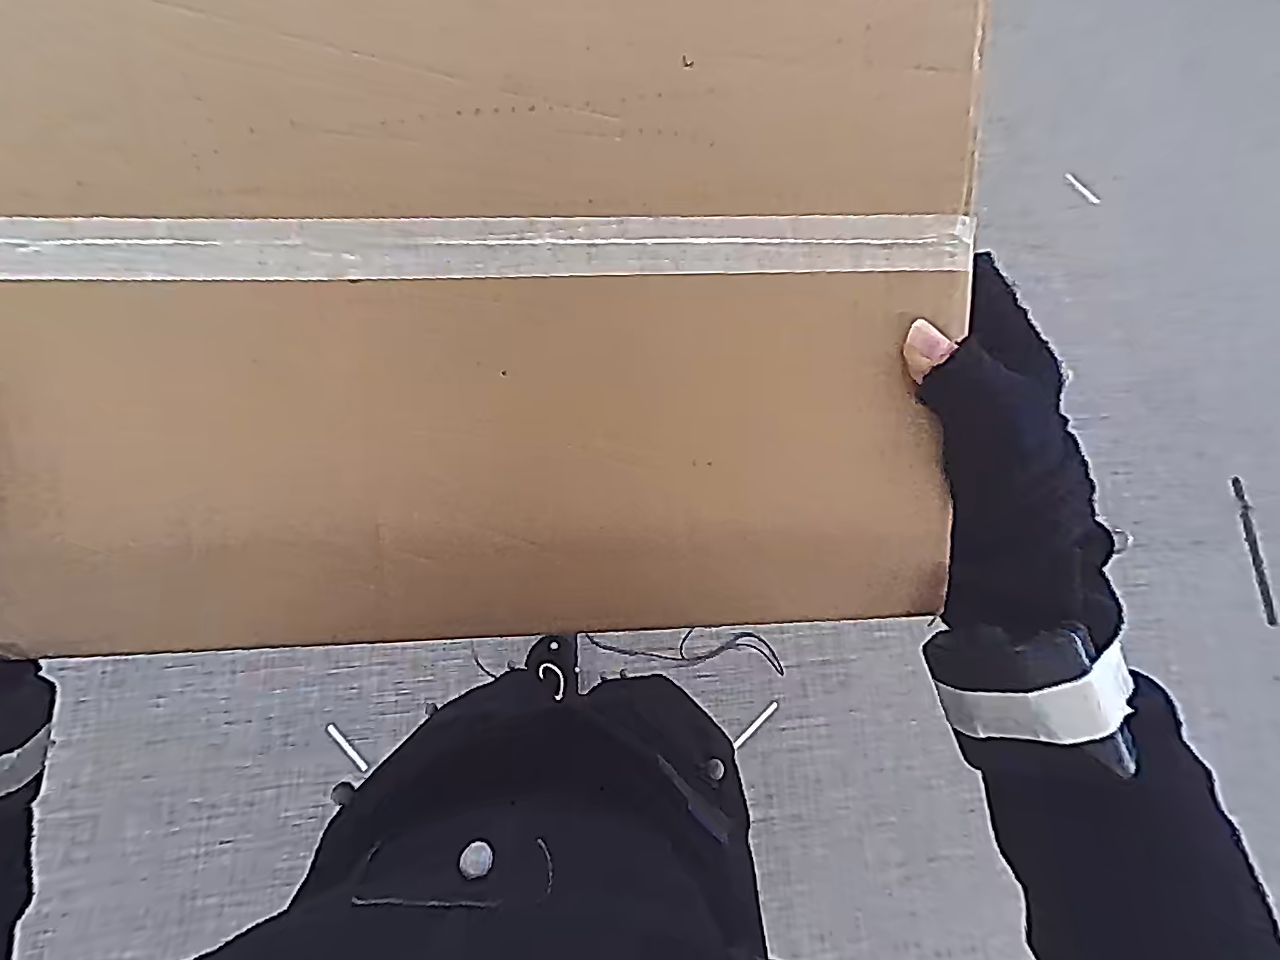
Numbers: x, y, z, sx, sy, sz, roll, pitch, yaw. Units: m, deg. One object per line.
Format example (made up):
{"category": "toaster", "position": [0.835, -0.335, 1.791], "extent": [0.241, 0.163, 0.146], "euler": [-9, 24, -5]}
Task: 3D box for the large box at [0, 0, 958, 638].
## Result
{"category": "large box", "position": [-0.081, -0.115, 0.363], "extent": [0.408, 0.320, 0.320], "euler": [-1, 99, -4]}
